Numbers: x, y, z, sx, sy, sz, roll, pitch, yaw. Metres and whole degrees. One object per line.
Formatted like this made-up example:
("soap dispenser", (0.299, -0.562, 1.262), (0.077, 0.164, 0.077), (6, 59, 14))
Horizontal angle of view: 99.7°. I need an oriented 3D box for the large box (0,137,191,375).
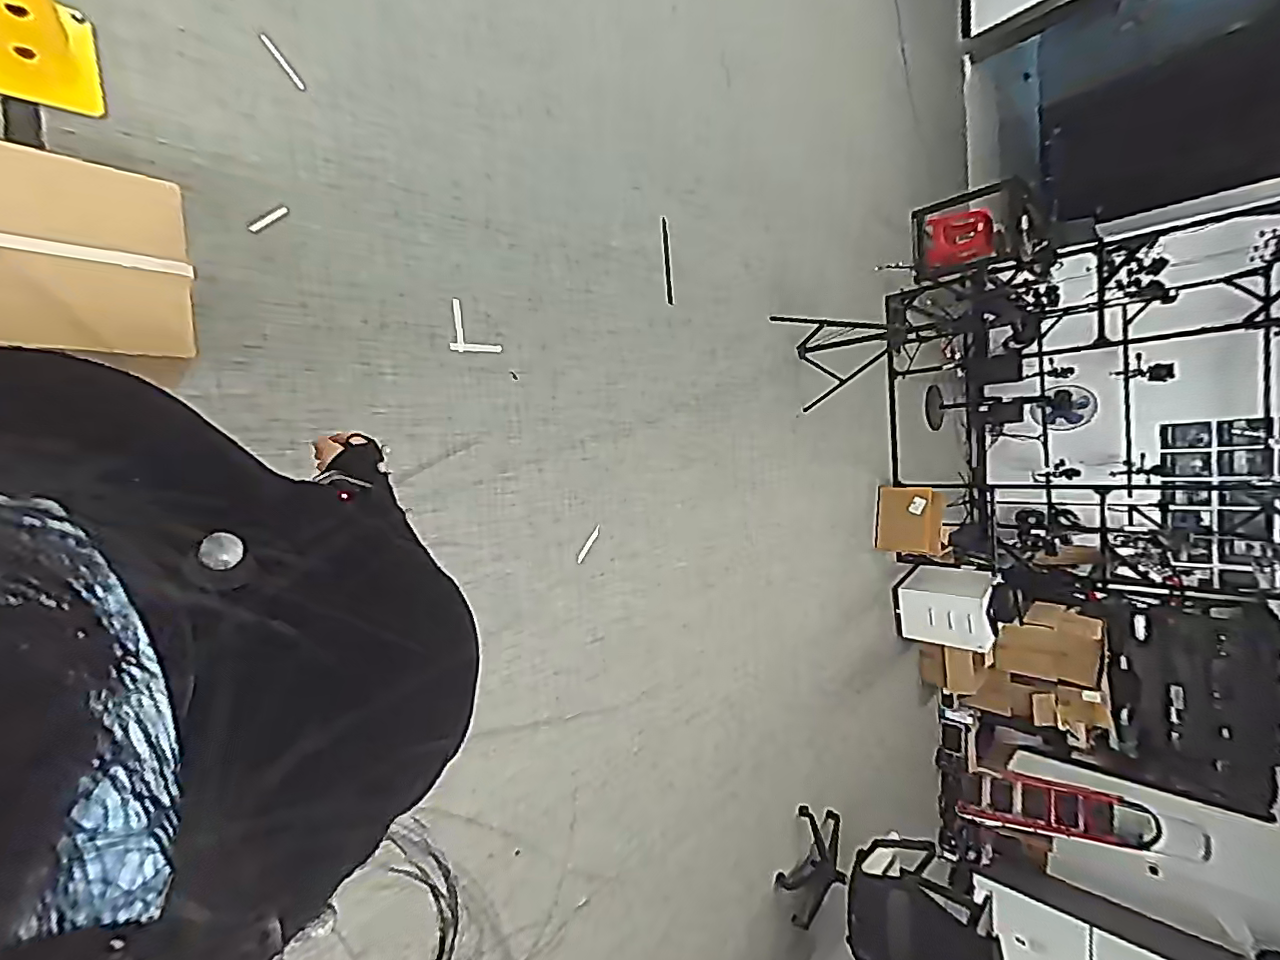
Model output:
("large box", (-1.057, -0.365, 0.930), (0.408, 0.320, 0.320), (-5, 91, -44))
